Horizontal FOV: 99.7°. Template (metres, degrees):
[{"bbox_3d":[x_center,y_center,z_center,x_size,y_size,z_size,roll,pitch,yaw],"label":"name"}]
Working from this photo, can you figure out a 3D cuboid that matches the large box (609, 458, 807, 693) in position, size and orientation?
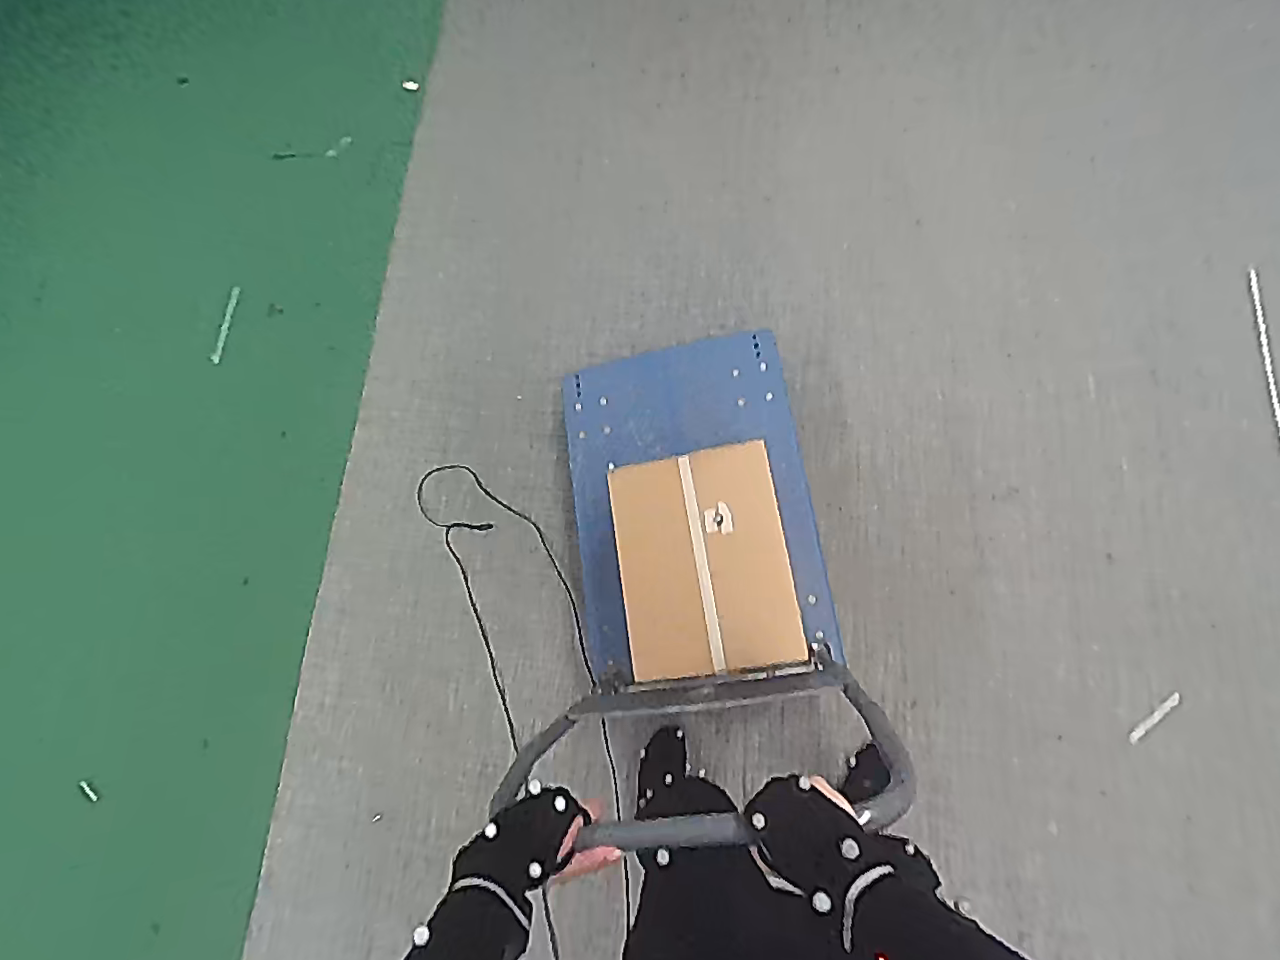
[{"bbox_3d":[0.147,0.210,1.165,0.320,0.320,0.408,-12,75,9],"label":"large box"}]
